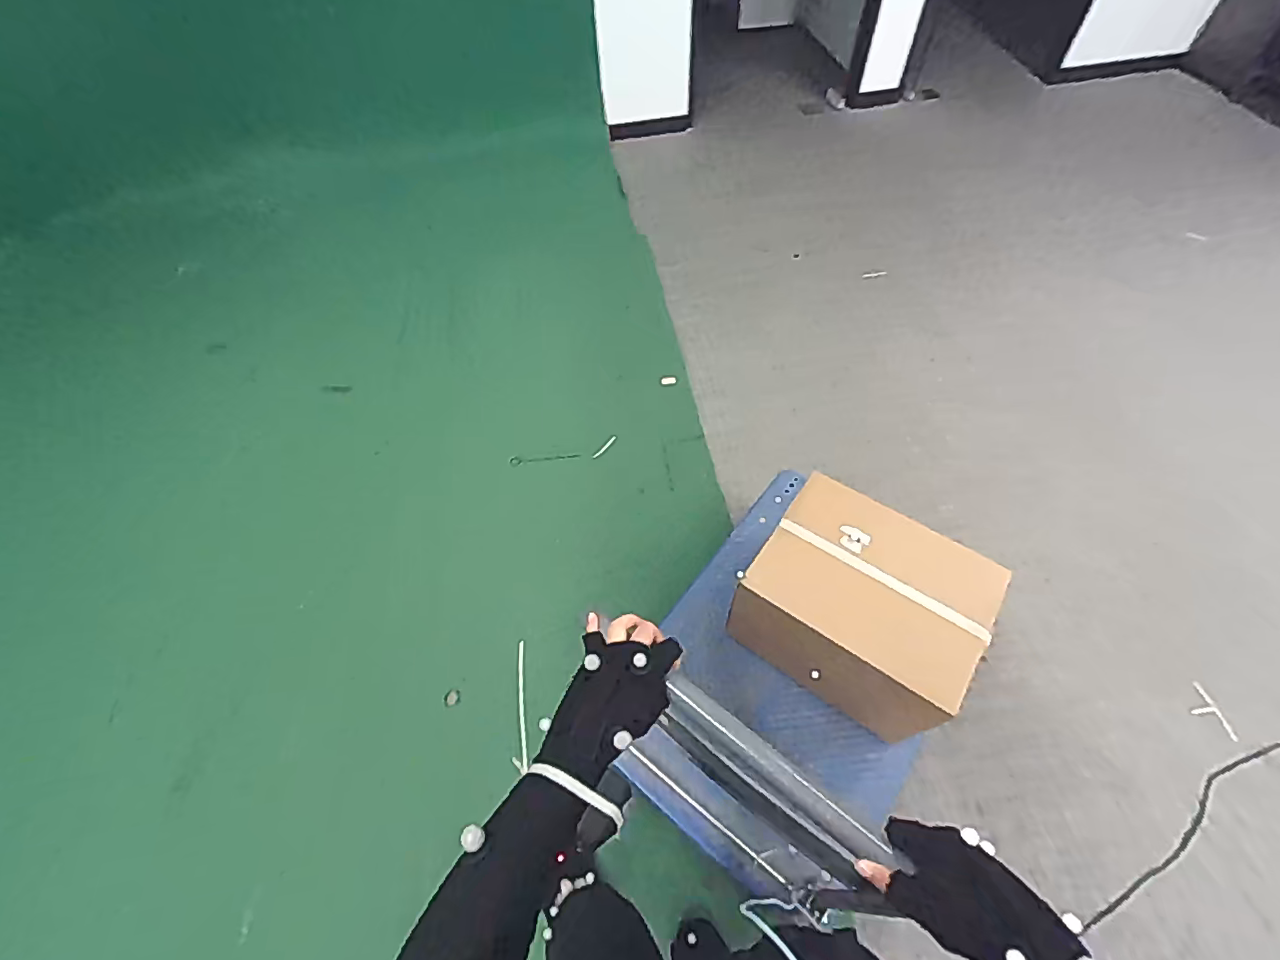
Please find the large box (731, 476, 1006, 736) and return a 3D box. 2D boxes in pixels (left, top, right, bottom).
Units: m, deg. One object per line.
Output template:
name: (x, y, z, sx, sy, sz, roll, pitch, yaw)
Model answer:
large box: (0.448, 0.266, 1.138, 0.408, 0.320, 0.320, 30, 62, 22)
